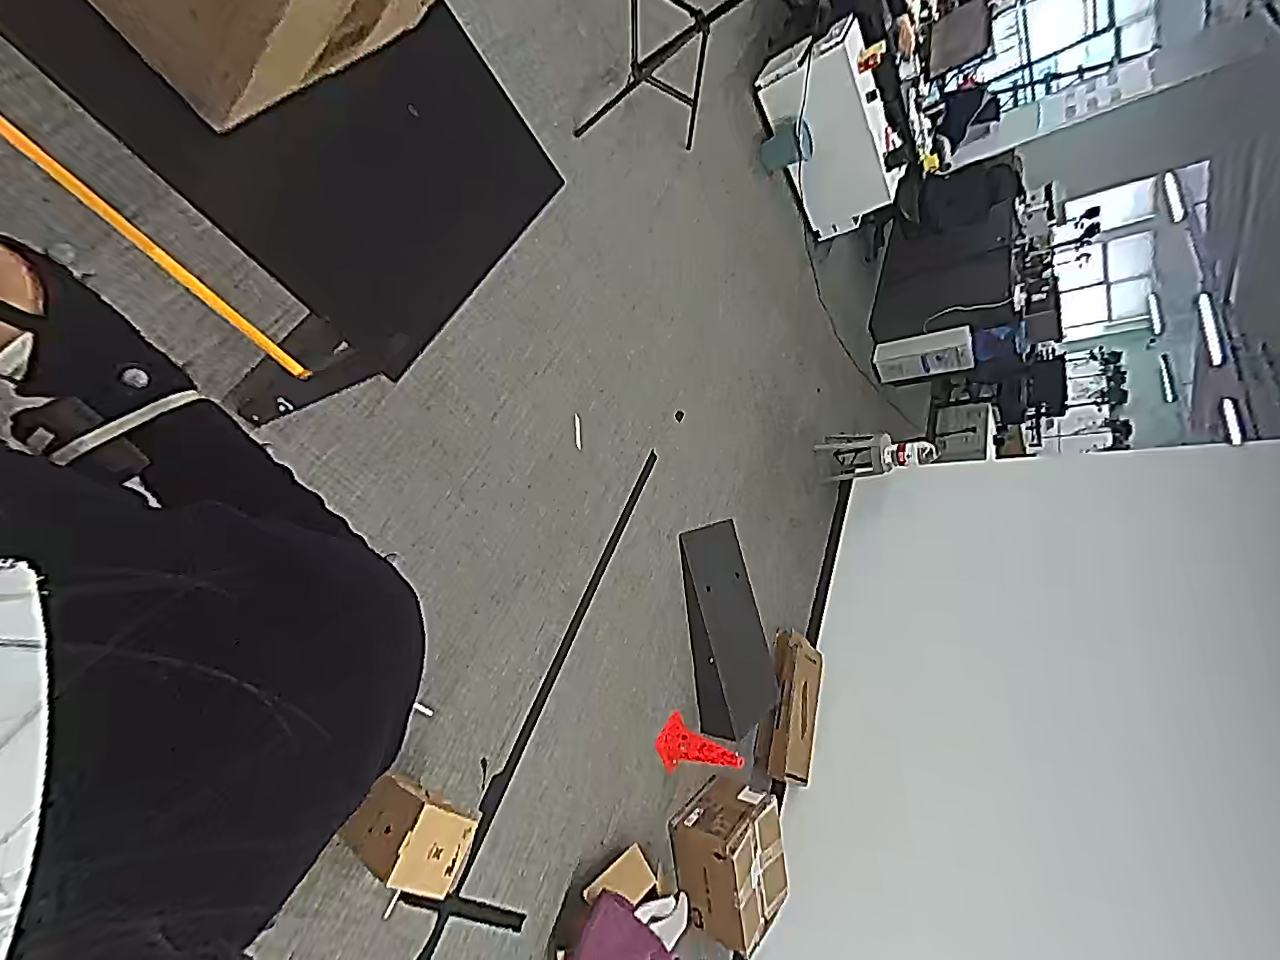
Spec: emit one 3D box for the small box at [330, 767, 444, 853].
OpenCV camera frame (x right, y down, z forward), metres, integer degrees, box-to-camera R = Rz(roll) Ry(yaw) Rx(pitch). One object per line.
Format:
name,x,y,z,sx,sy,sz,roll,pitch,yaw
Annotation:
small box,-0.660,0.875,1.412,0.179,0.176,0.168,48,52,-35

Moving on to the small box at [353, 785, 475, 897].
small box,-0.544,0.857,1.295,0.179,0.176,0.168,50,51,-35
